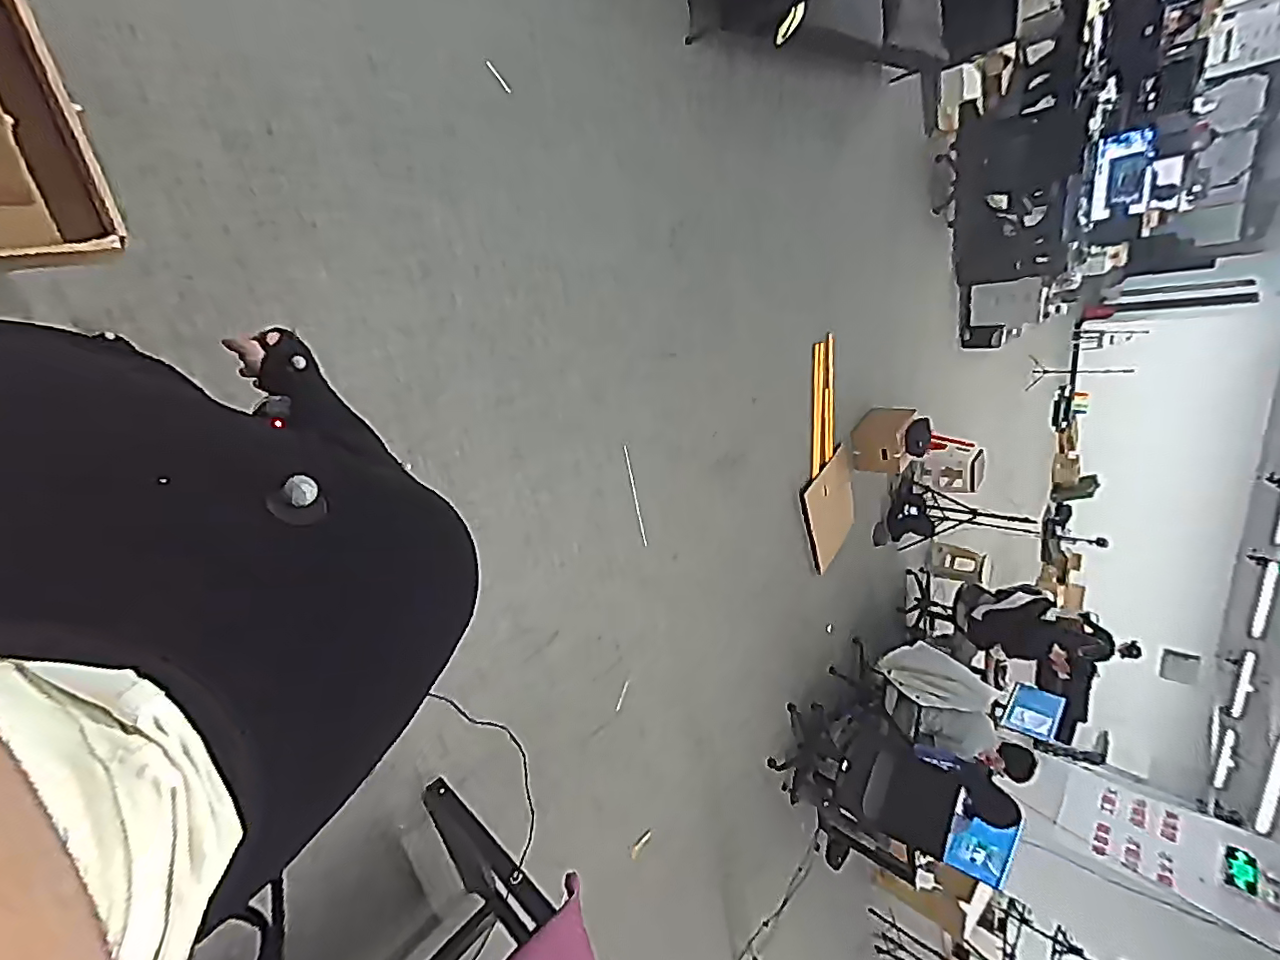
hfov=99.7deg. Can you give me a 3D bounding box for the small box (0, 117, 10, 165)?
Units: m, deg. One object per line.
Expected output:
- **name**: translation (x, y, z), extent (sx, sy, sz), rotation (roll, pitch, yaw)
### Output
- **small box**: translation (-0.806, -0.439, 0.549), extent (0.168, 0.176, 0.179), rotation (-29, 117, -39)

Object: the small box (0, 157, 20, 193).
- **small box**: translation (-0.920, -0.462, 0.662), extent (0.168, 0.176, 0.179), rotation (-28, 115, -40)
